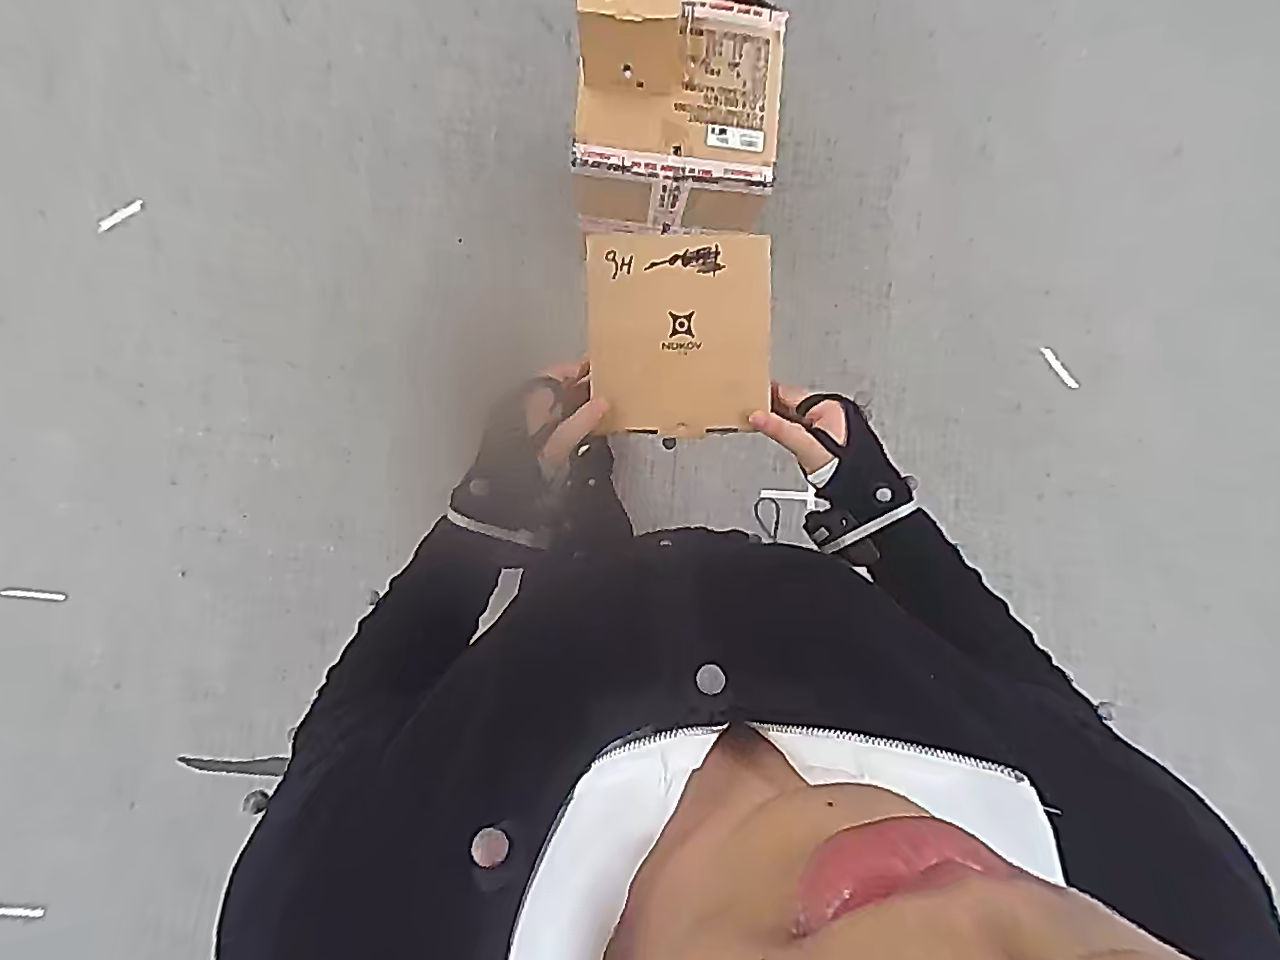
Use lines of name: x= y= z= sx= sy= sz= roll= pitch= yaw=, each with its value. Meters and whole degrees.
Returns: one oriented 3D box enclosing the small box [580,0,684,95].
small box: x=-0.010 y=-0.814 z=0.933 sx=0.168 sy=0.176 sz=0.179 roll=4 pitch=91 yaw=0
